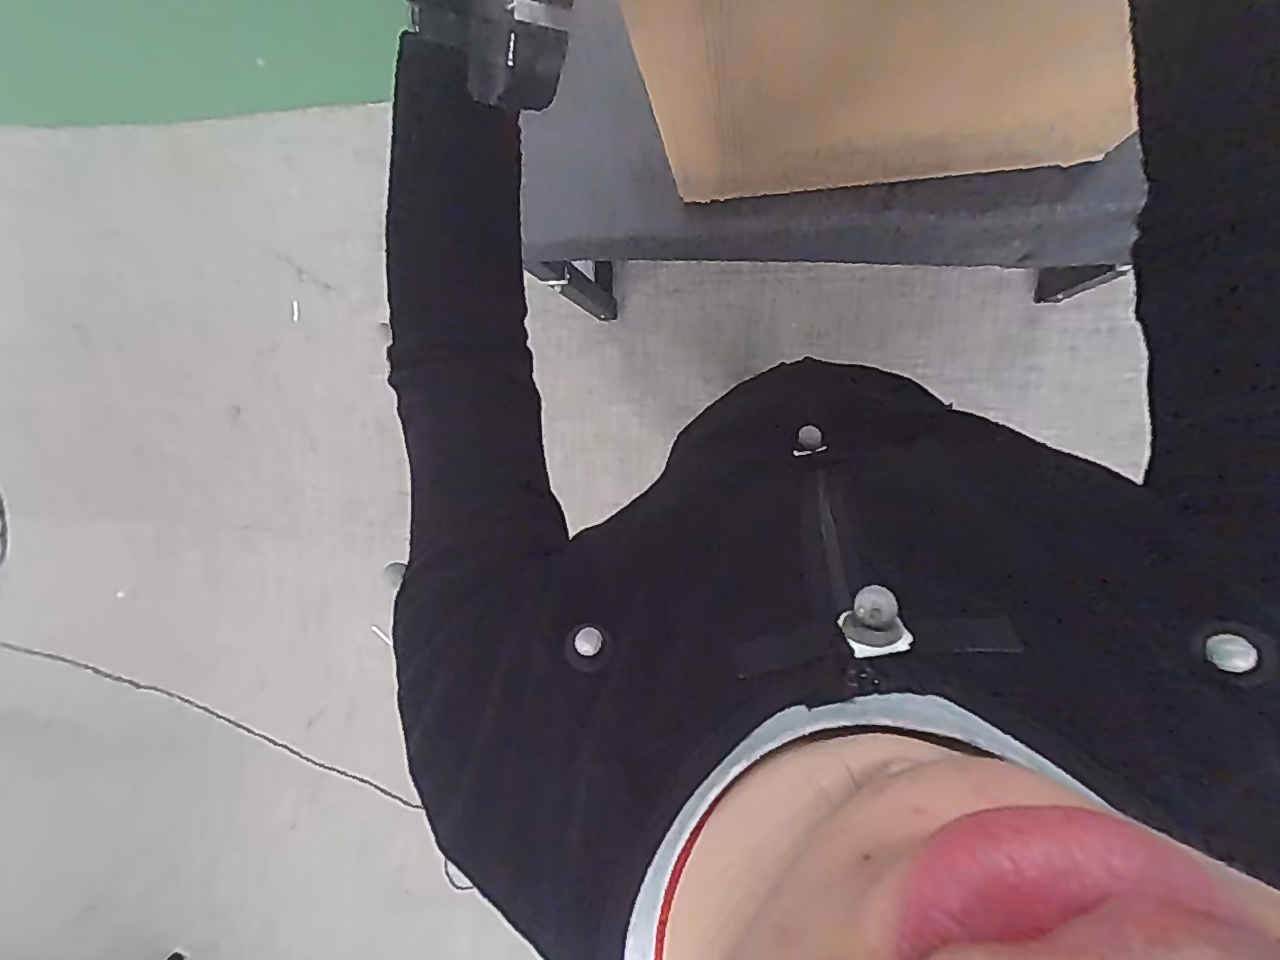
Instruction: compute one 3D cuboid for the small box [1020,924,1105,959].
[{"bbox_3d":[1.134,1.319,1.422,0.168,0.176,0.179,-11,95,14],"label":"small box"}]
